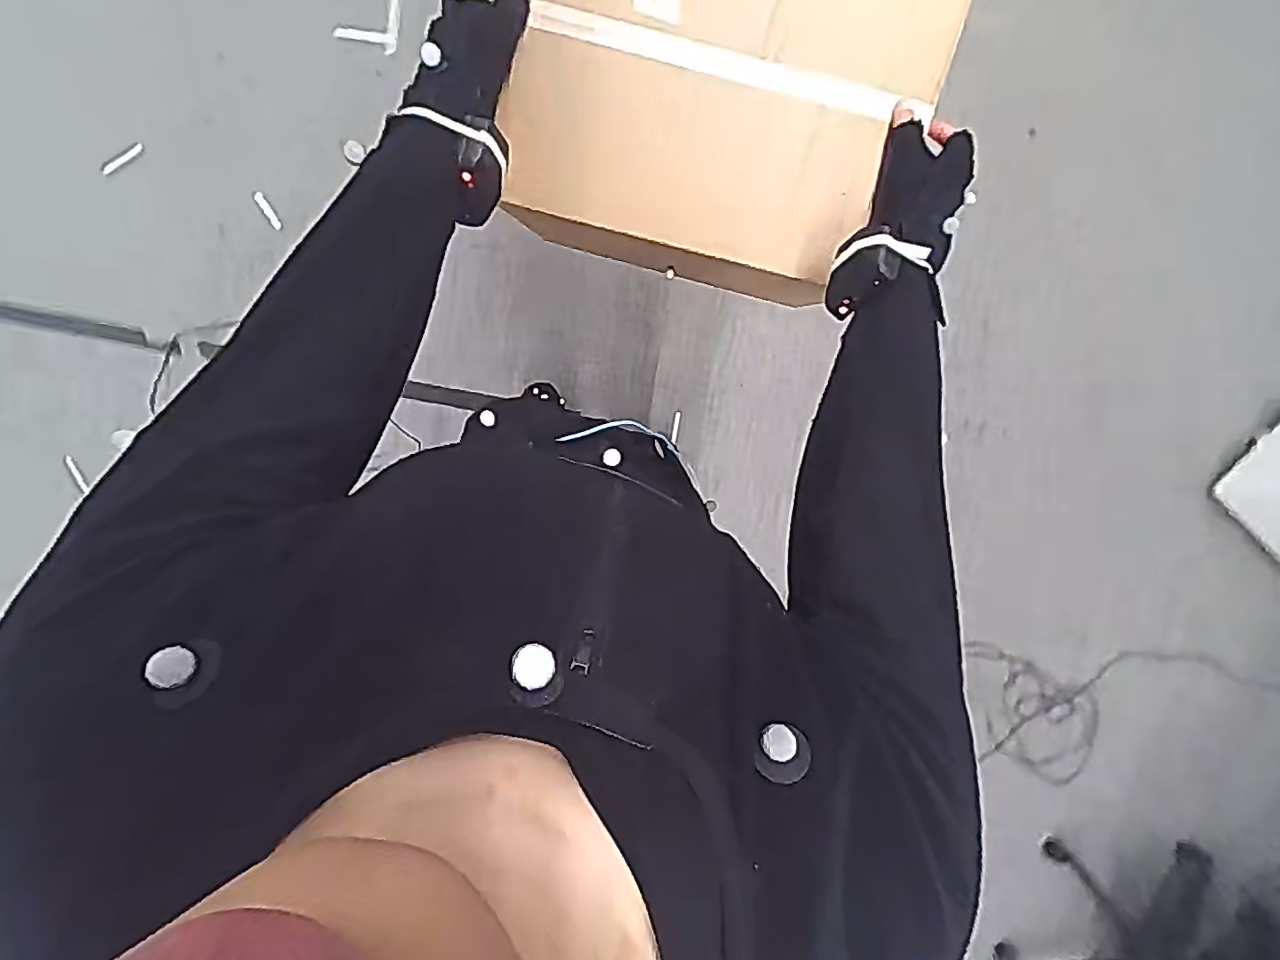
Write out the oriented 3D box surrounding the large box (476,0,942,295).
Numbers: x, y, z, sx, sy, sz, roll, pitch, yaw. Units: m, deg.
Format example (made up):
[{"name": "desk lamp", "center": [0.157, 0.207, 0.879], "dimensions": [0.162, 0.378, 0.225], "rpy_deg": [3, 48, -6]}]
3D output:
[{"name": "large box", "center": [0.066, -0.423, 0.648], "dimensions": [0.408, 0.320, 0.320], "rpy_deg": [13, 105, -1]}]
